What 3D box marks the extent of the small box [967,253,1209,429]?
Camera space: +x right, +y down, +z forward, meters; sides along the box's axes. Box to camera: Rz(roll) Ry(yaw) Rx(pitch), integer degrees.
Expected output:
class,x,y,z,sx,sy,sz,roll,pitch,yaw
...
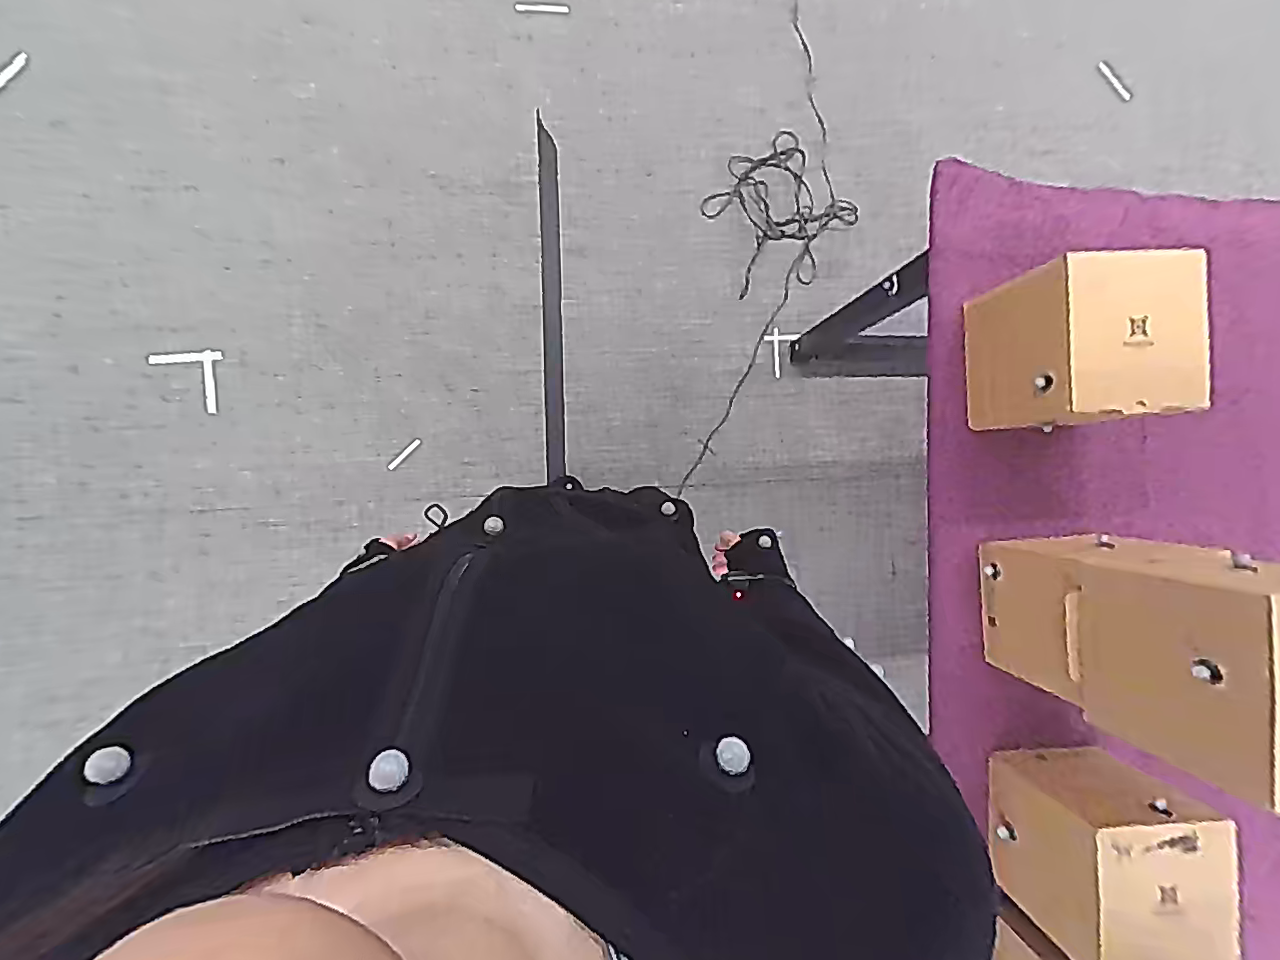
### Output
class,x,y,z,sx,sy,sz,roll,pitch,yaw
small box,0.536,-0.160,0.670,0.168,0.176,0.179,-3,91,-5

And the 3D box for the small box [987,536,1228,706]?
class,x,y,z,sx,sy,sz,roll,pitch,yaw
small box,0.565,0.164,0.675,0.179,0.176,0.168,-4,91,-5

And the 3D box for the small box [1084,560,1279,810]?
class,x,y,z,sx,sy,sz,roll,pitch,yaw
small box,0.565,0.171,0.509,0.168,0.176,0.179,-1,91,-4
